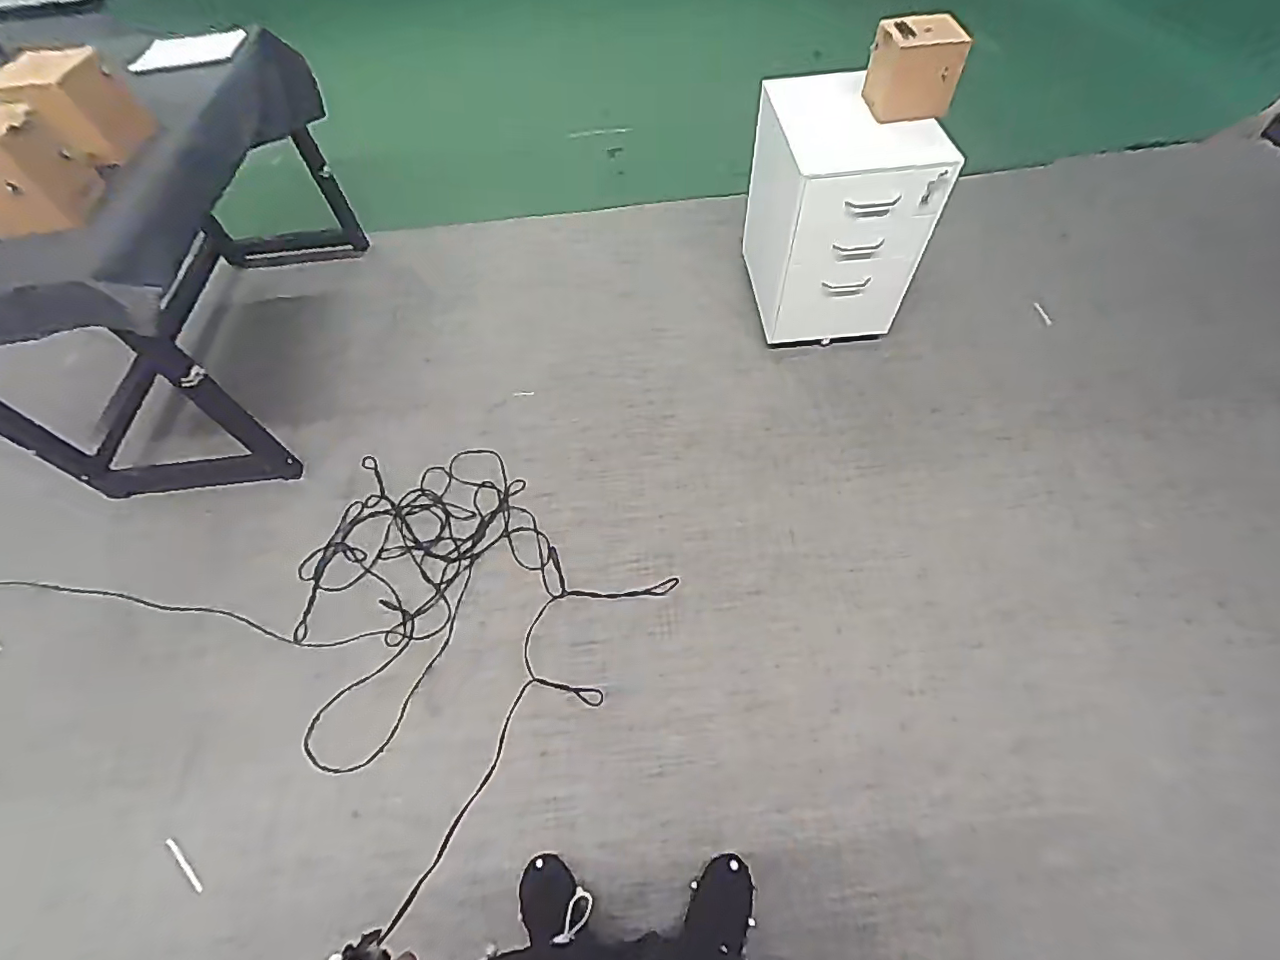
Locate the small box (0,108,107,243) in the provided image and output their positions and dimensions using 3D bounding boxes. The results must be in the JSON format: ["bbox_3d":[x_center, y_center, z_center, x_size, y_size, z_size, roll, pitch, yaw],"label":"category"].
[{"bbox_3d":[-1.244,-0.604,1.080,0.179,0.176,0.168,-11,56,-2],"label":"small box"}]

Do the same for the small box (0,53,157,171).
[{"bbox_3d":[-1.261,-0.822,1.220,0.168,0.176,0.179,-3,57,2],"label":"small box"}]
